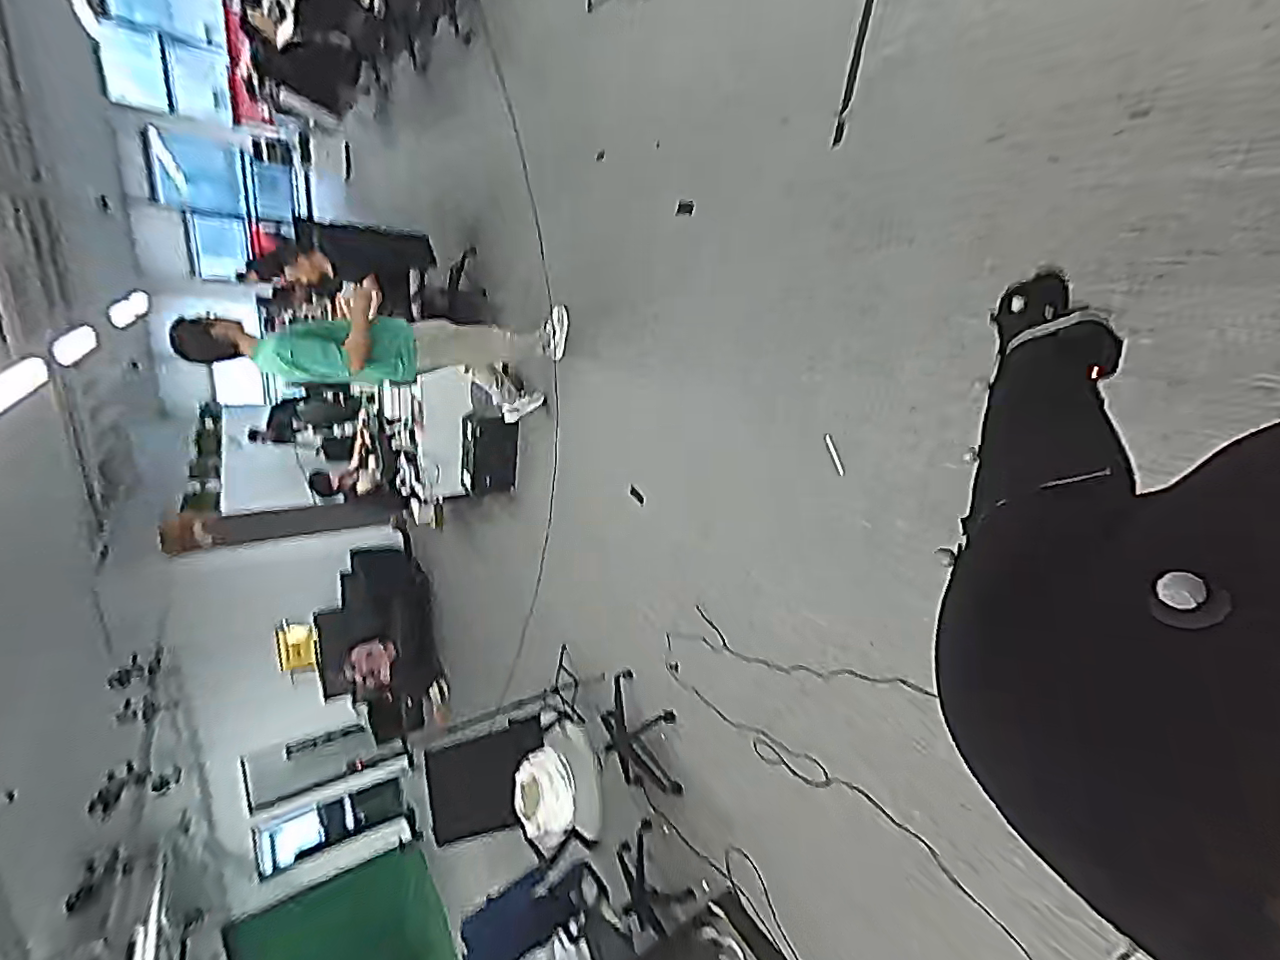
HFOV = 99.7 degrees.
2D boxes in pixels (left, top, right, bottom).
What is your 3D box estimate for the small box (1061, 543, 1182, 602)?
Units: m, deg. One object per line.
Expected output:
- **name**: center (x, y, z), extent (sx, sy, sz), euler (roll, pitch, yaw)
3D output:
- **small box**: center (1.007, 0.250, 1.163), extent (0.179, 0.176, 0.168), euler (34, 122, 46)
